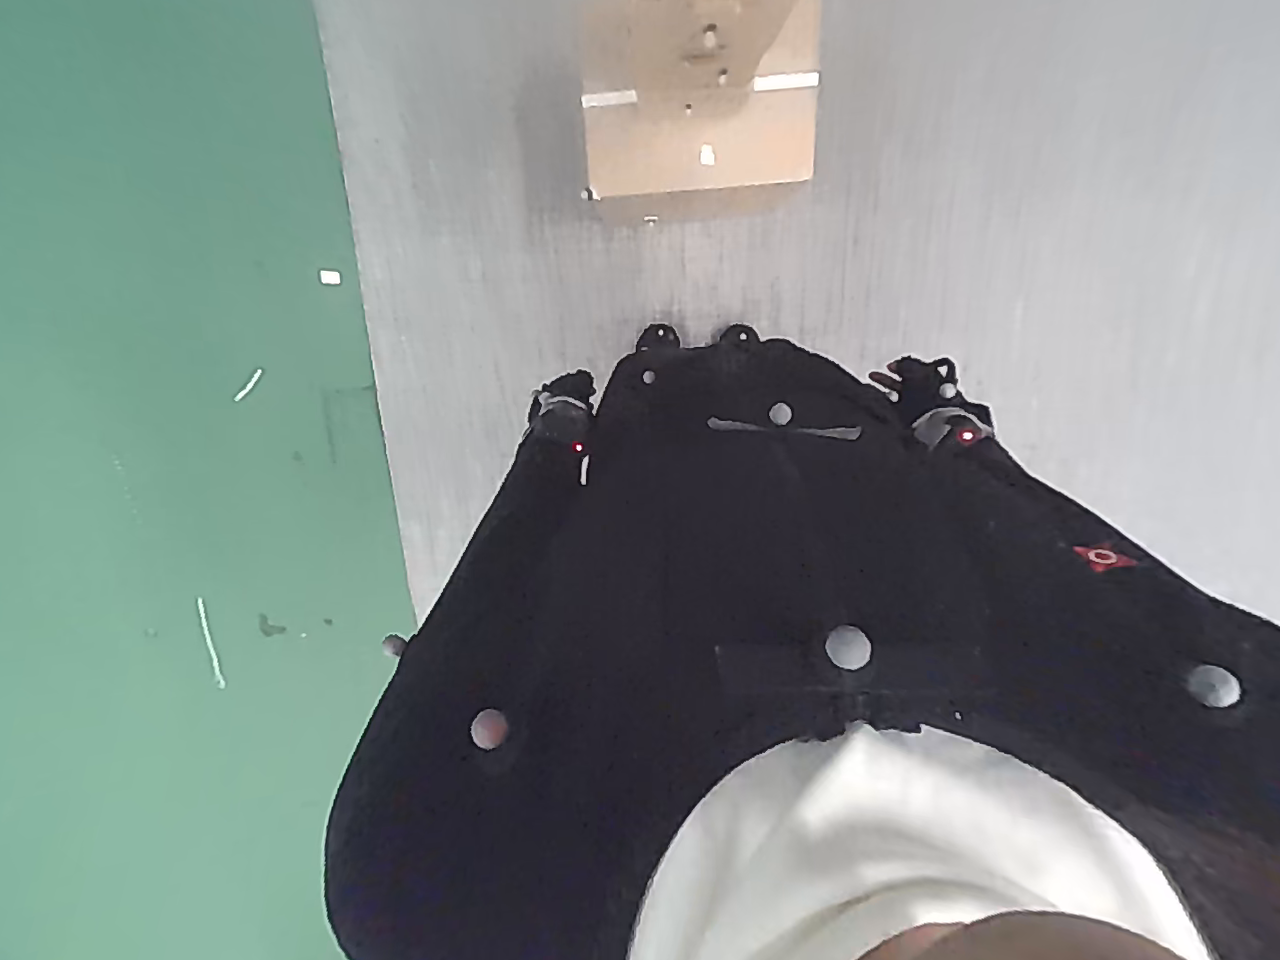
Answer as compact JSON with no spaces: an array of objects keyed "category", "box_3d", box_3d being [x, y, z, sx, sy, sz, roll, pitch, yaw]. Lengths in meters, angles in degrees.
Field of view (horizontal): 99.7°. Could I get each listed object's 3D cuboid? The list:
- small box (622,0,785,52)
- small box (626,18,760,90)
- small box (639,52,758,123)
[{"category":"small box","box_3d":[0.066,-0.559,0.544,0.168,0.176,0.179,-1,113,3]},{"category":"small box","box_3d":[0.067,-0.624,0.694,0.168,0.176,0.179,-1,111,2]},{"category":"small box","box_3d":[0.083,-0.678,0.846,0.179,0.176,0.168,-3,112,4]}]
